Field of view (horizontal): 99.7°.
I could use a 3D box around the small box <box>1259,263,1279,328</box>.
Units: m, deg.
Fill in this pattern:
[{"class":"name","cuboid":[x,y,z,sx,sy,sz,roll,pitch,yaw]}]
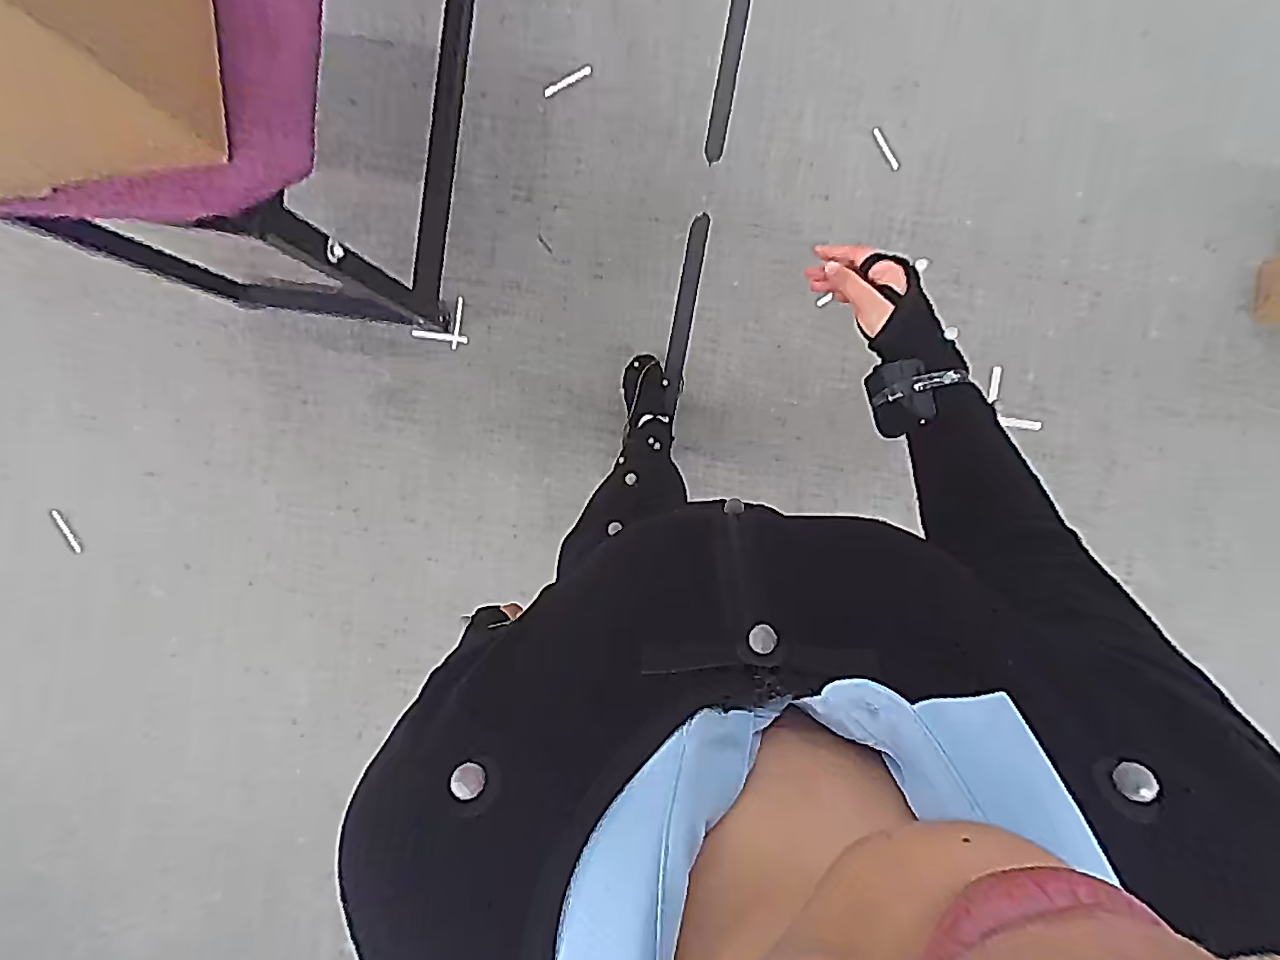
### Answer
[{"class":"small box","cuboid":[1.716,-0.473,1.339,0.179,0.176,0.168,5,93,0]}]
